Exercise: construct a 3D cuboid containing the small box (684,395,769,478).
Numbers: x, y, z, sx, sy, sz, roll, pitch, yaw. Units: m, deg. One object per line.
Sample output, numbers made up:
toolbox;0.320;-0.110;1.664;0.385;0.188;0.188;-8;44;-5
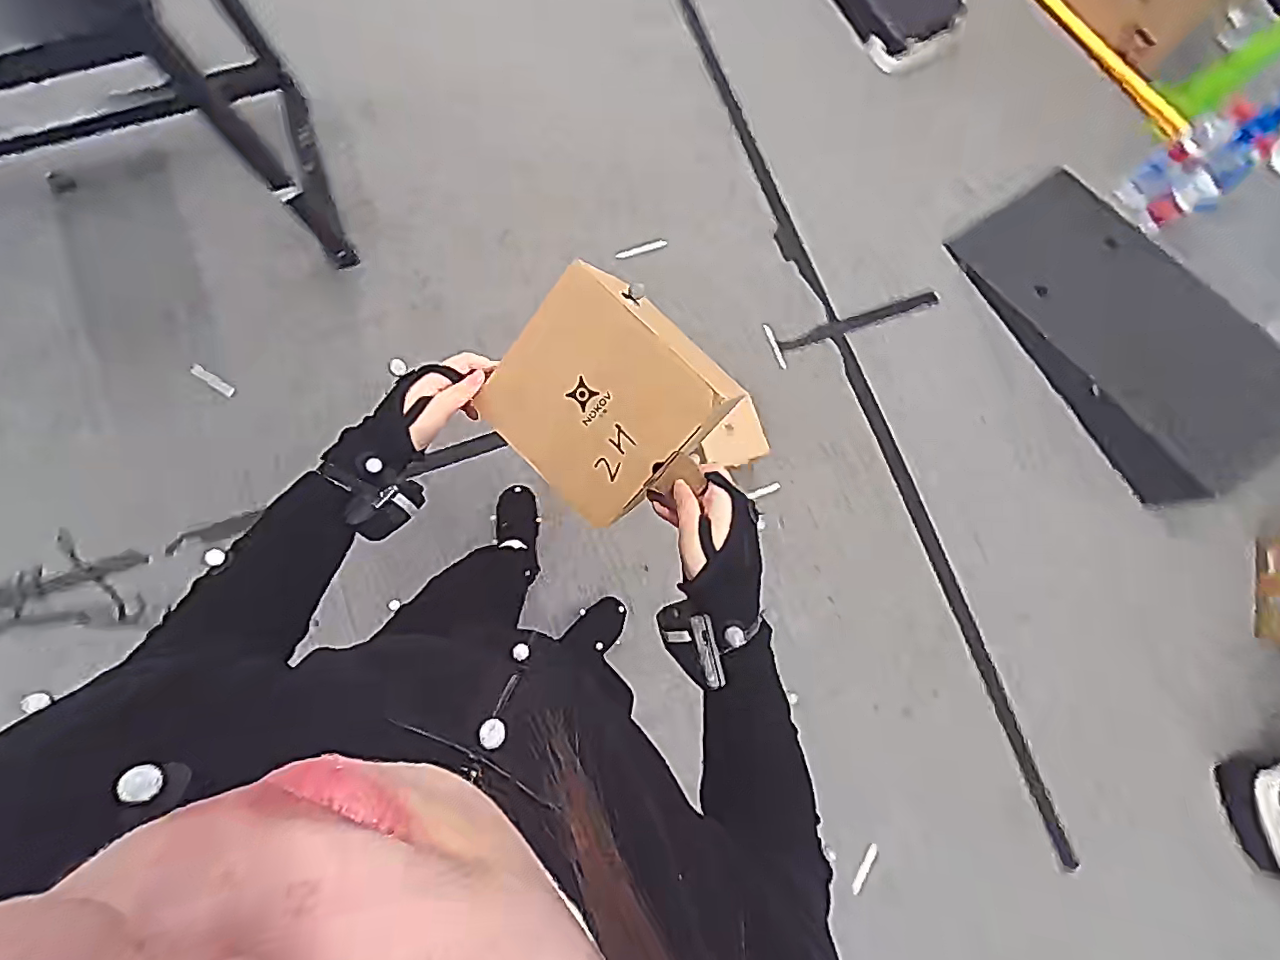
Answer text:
small box;0.228;-0.109;1.461;0.168;0.176;0.179;-17;85;-5
